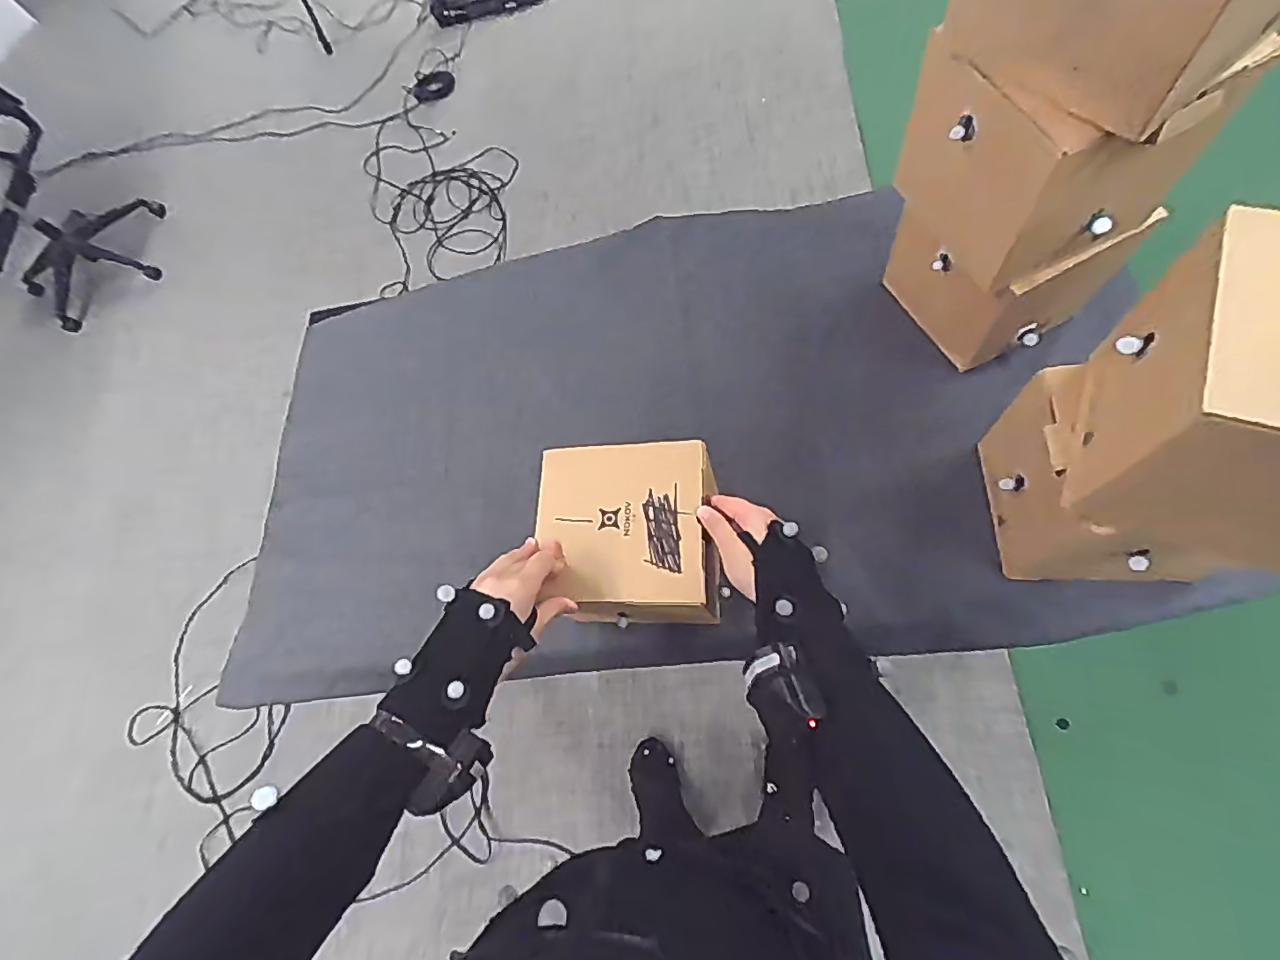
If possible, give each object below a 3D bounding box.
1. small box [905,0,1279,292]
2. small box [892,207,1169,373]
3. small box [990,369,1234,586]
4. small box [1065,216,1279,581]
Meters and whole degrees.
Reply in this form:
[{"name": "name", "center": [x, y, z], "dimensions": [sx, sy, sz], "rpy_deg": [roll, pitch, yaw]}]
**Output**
[{"name": "small box", "center": [0.370, -0.311, 0.488], "dimensions": [0.168, 0.176, 0.179], "rpy_deg": [-25, 67, 6]}, {"name": "small box", "center": [0.427, -0.261, 0.636], "dimensions": [0.168, 0.176, 0.179], "rpy_deg": [-29, 69, 4]}, {"name": "small box", "center": [0.469, 0.005, 0.525], "dimensions": [0.179, 0.176, 0.168], "rpy_deg": [-2, 67, 13]}, {"name": "small box", "center": [0.439, -0.043, 0.371], "dimensions": [0.179, 0.176, 0.168], "rpy_deg": [20, 73, 19]}]
